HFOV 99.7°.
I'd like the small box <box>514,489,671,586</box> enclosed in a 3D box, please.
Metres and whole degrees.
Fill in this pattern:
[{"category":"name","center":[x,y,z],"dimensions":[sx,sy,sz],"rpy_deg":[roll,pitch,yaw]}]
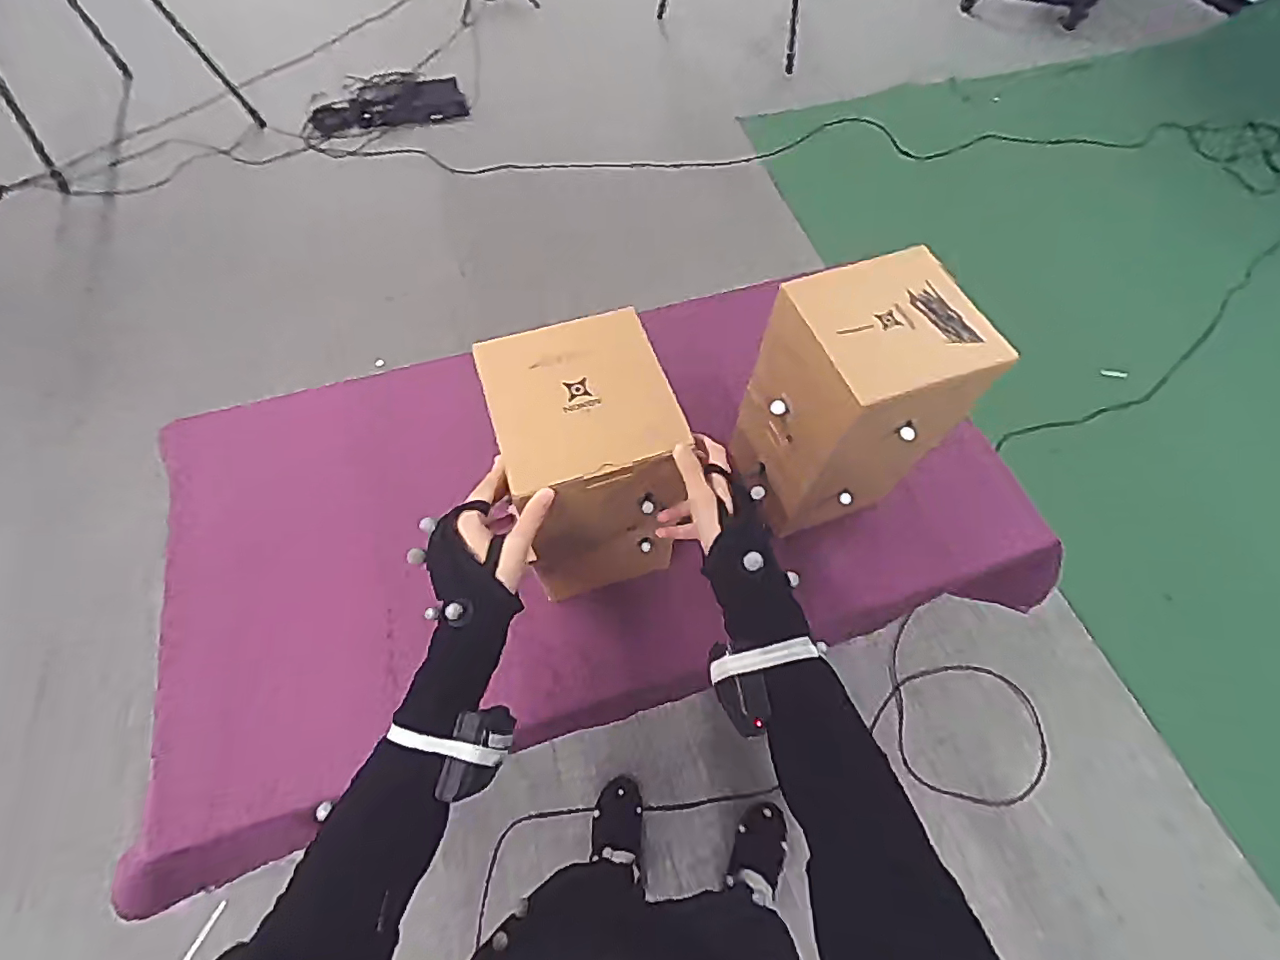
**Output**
[{"category":"small box","center":[-0.065,0.024,0.715],"dimensions":[0.179,0.176,0.168],"rpy_deg":[-15,64,-9]}]

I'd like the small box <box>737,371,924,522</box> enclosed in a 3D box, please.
[{"category":"small box","center":[0.248,-0.062,0.758],"dimensions":[0.179,0.176,0.168],"rpy_deg":[-19,65,-9]}]

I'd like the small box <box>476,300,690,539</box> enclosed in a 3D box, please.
[{"category":"small box","center":[-0.057,-0.052,0.572],"dimensions":[0.168,0.176,0.179],"rpy_deg":[-16,63,-10]}]

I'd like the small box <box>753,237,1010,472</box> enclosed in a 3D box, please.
[{"category":"small box","center":[0.249,-0.134,0.610],"dimensions":[0.179,0.176,0.168],"rpy_deg":[-18,64,-9]}]
